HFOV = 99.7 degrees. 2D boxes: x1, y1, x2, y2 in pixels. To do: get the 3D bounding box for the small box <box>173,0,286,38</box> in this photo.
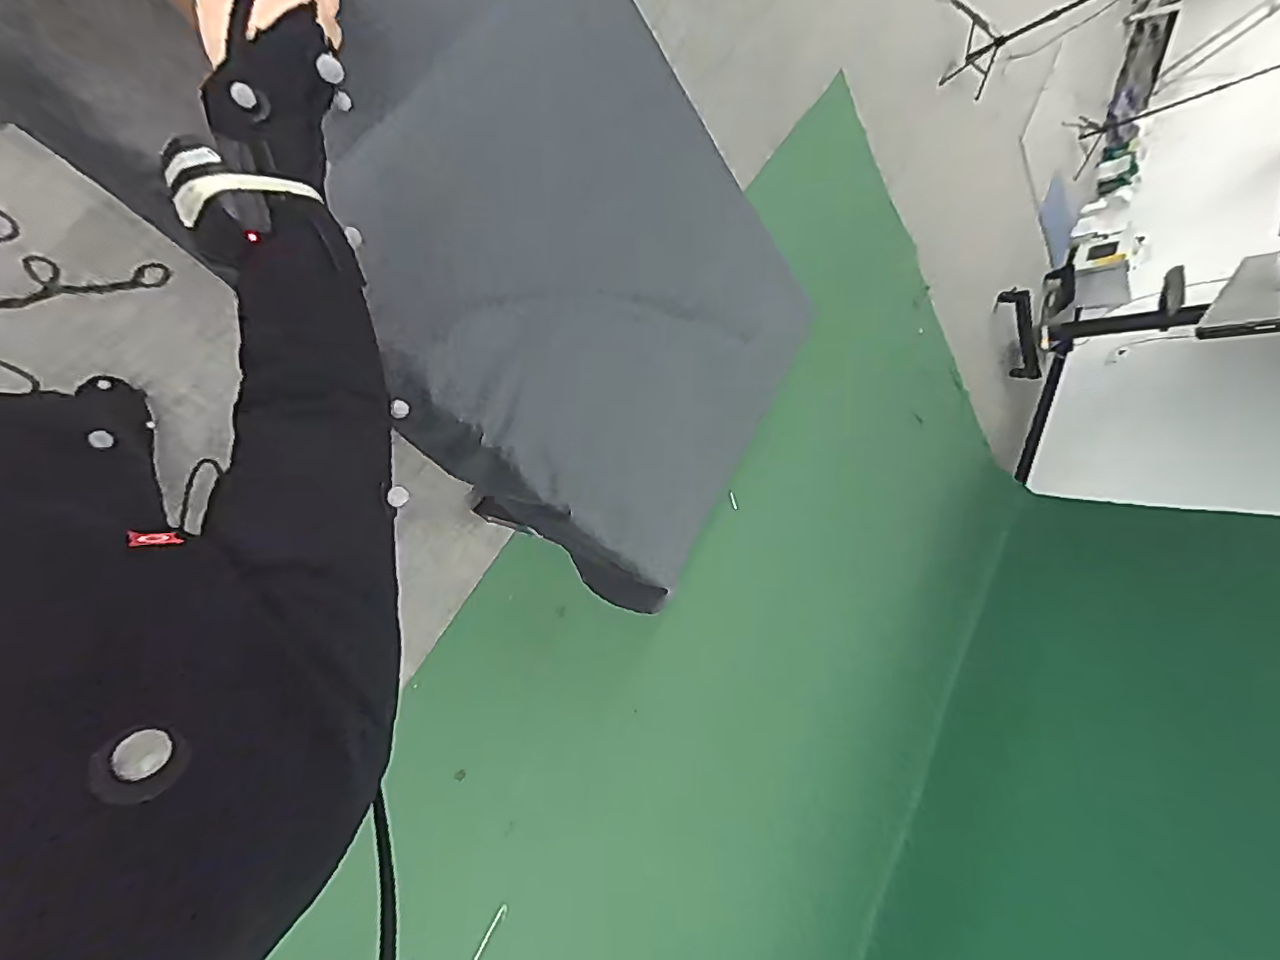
[{"bbox_3d":[-0.340,-0.498,0.403,0.179,0.176,0.168,44,68,-33],"label":"small box"}]
